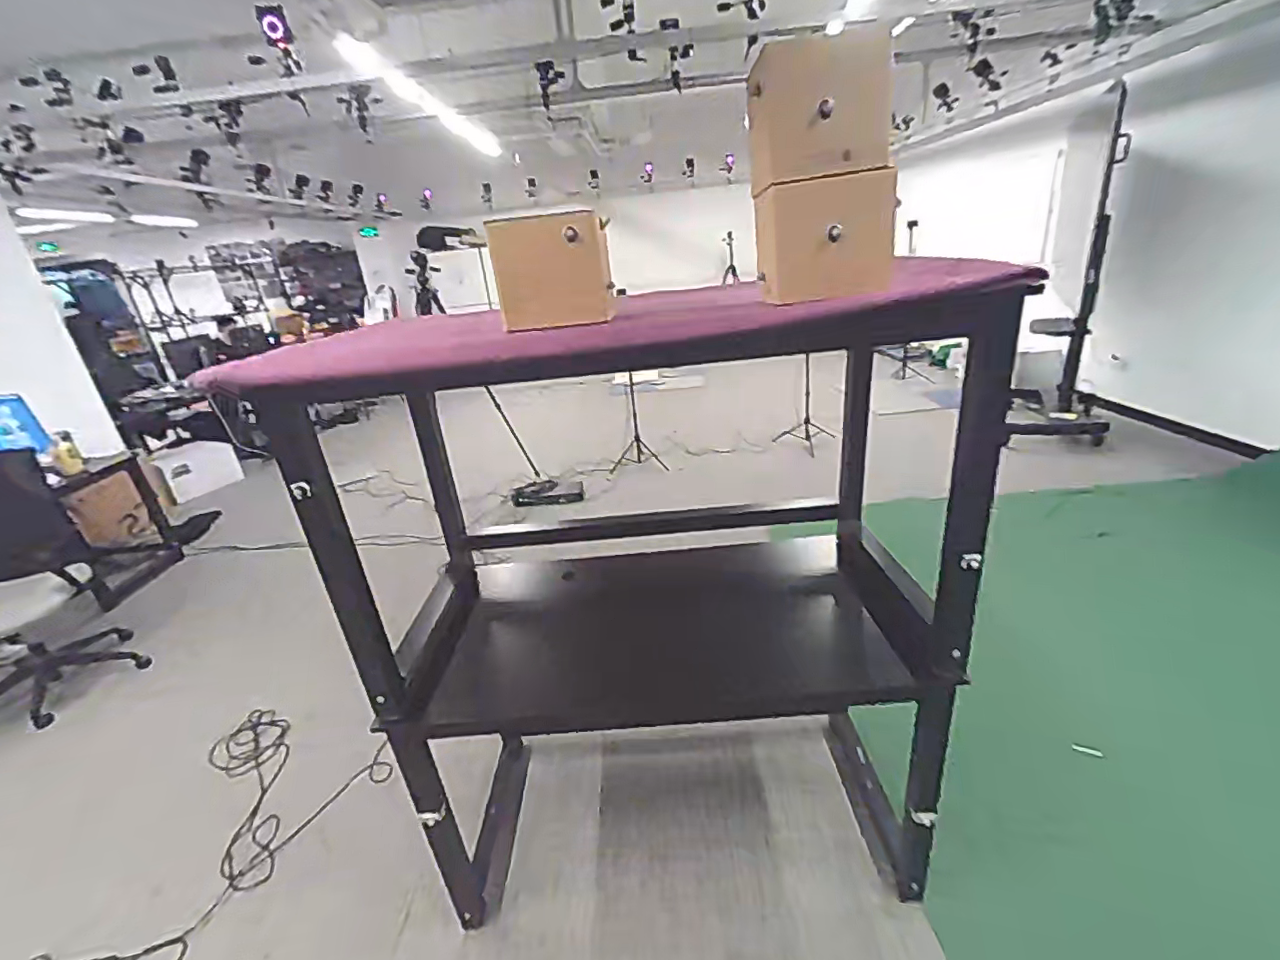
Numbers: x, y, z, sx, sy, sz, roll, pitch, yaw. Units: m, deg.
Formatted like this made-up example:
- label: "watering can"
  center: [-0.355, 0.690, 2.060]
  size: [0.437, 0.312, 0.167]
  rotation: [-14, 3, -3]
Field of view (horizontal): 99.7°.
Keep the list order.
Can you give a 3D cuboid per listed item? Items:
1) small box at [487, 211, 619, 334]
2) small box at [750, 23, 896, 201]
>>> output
- label: "small box"
  center: [-0.136, -0.345, 0.916]
  size: [0.179, 0.176, 0.168]
  rotation: [-4, 21, 4]
- label: "small box"
  center: [0.261, -0.524, 0.798]
  size: [0.168, 0.176, 0.179]
  rotation: [-6, 21, 4]
